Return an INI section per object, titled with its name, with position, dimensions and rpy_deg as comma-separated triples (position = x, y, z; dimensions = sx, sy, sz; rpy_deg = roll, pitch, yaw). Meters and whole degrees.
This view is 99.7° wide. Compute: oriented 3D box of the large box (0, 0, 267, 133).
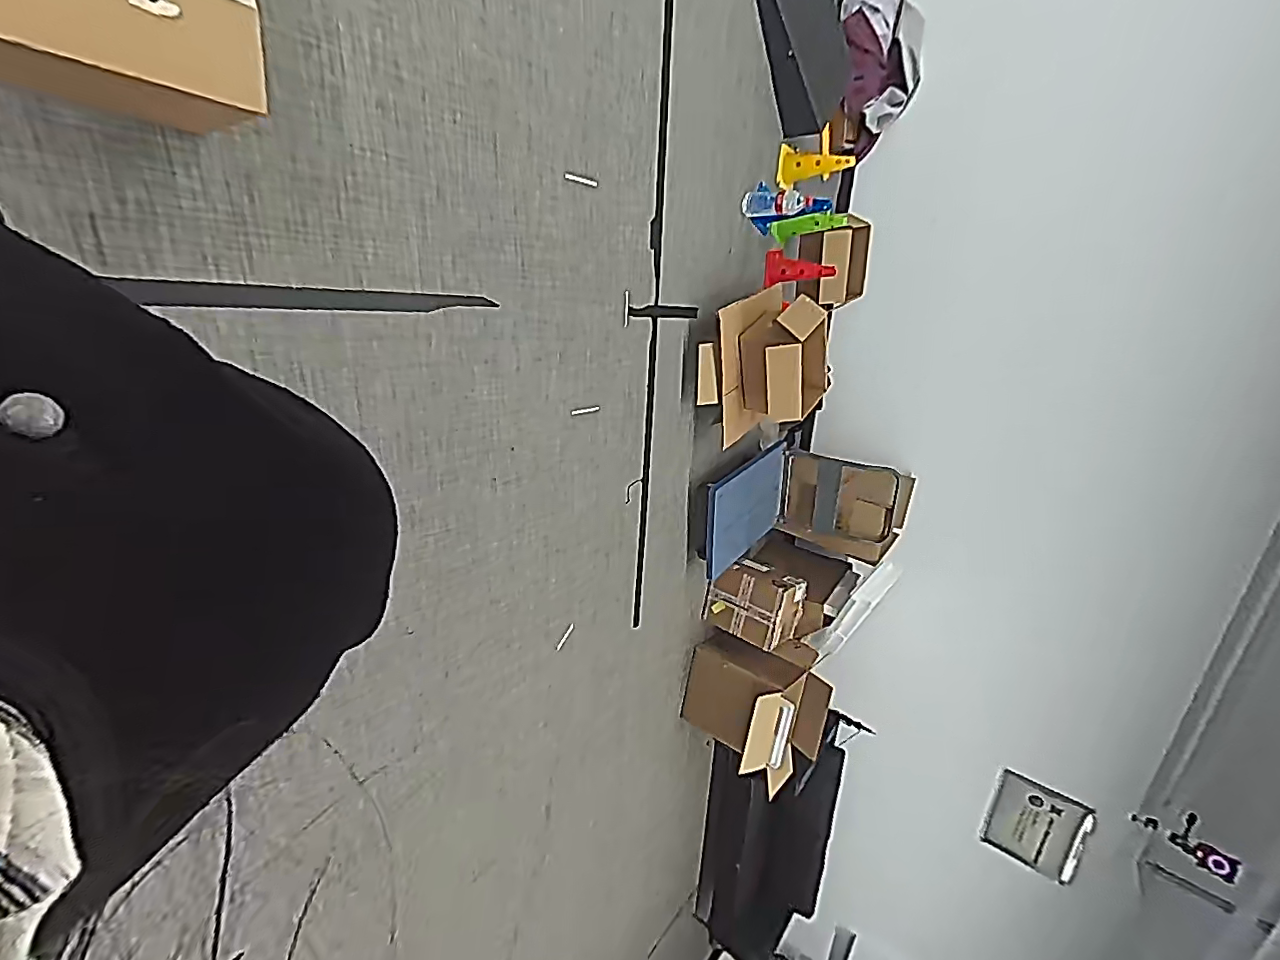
[large box]
position = -0.857, -0.762, 0.799
dimensions = 0.408, 0.320, 0.320
rpy_deg = -17, 118, -51
